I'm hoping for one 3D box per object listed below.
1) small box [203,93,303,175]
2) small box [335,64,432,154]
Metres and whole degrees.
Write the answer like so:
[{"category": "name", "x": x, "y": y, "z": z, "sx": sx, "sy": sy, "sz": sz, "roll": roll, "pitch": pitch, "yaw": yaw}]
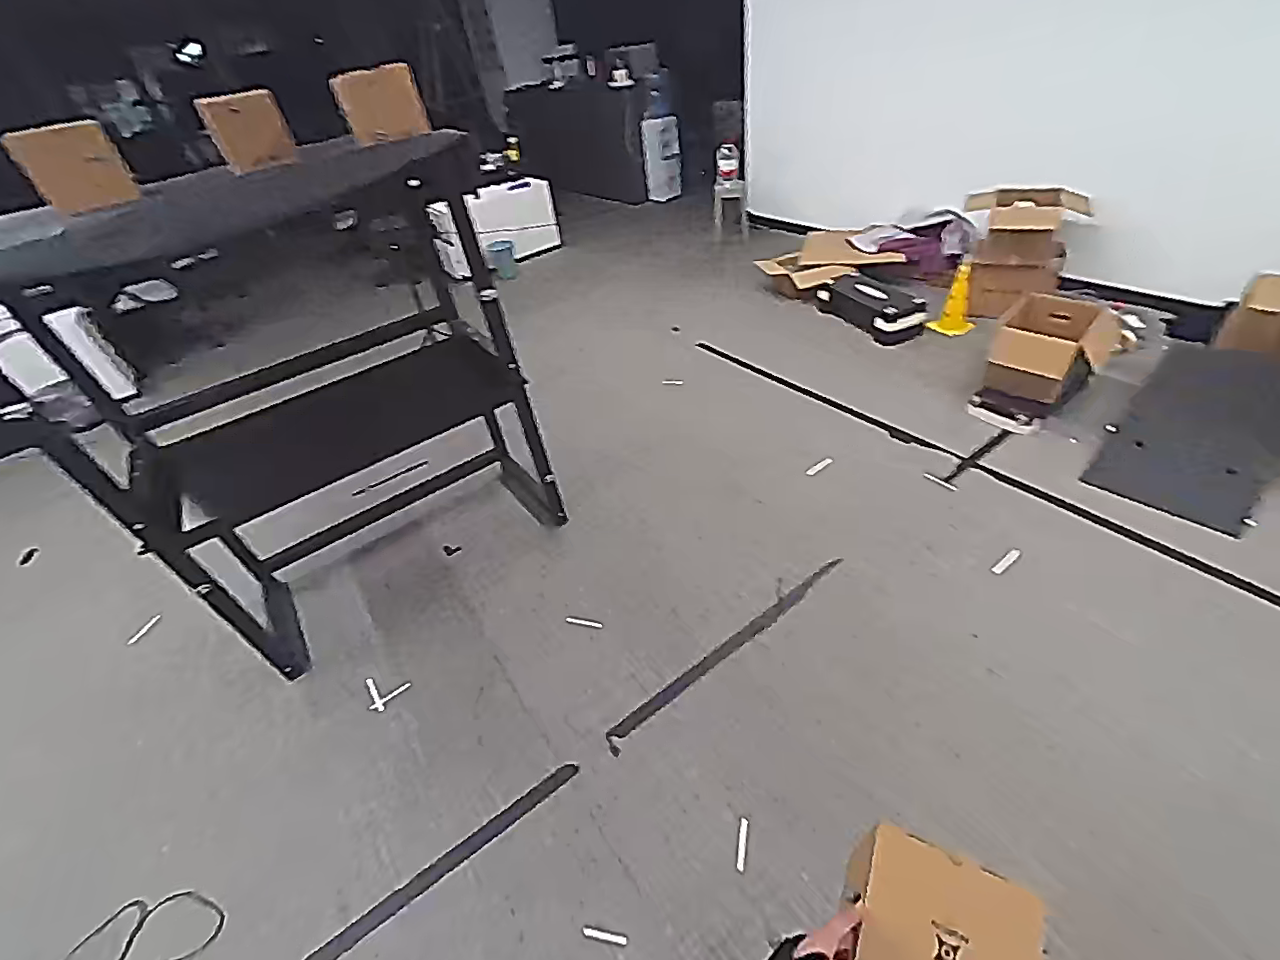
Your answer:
[{"category": "small box", "x": -1.083, "y": -0.970, "z": 1.517, "sx": 0.168, "sy": 0.176, "sz": 0.179, "roll": -31, "pitch": 44, "yaw": -23}, {"category": "small box", "x": -0.679, "y": -0.982, "z": 1.442, "sx": 0.168, "sy": 0.176, "sz": 0.179, "roll": -28, "pitch": 40, "yaw": -20}]
